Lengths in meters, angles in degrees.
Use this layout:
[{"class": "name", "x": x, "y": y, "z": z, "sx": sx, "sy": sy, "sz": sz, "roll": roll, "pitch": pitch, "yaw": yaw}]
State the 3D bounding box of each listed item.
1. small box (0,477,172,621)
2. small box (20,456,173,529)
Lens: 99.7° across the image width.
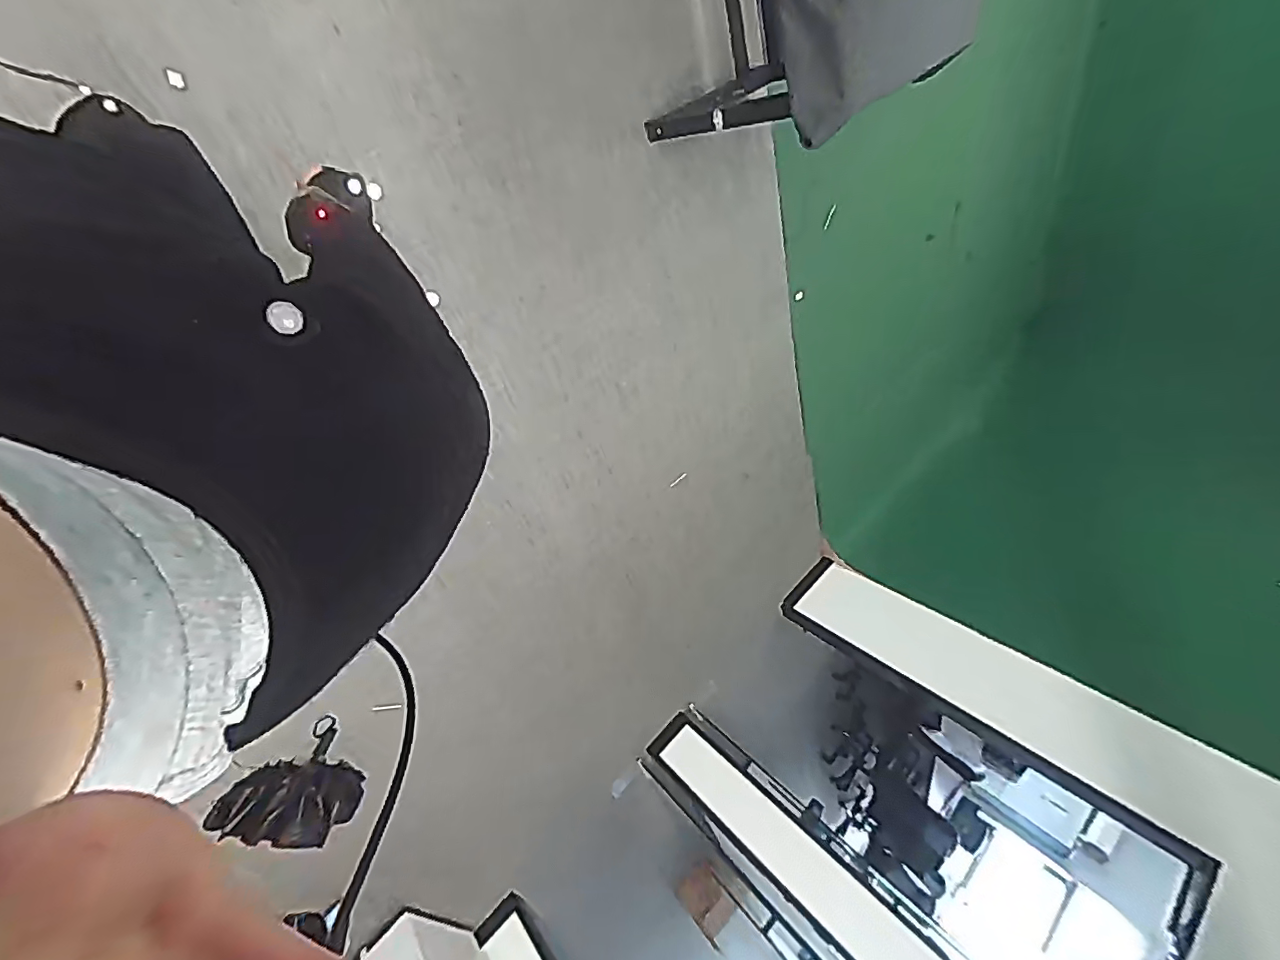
[{"class": "small box", "x": -1.034, "y": 0.124, "z": 1.019, "sx": 0.179, "sy": 0.176, "sz": 0.168, "roll": -50, "pitch": 134, "yaw": -15}, {"class": "small box", "x": -1.138, "y": 0.076, "z": 1.137, "sx": 0.179, "sy": 0.176, "sz": 0.168, "roll": -49, "pitch": 134, "yaw": -12}]
